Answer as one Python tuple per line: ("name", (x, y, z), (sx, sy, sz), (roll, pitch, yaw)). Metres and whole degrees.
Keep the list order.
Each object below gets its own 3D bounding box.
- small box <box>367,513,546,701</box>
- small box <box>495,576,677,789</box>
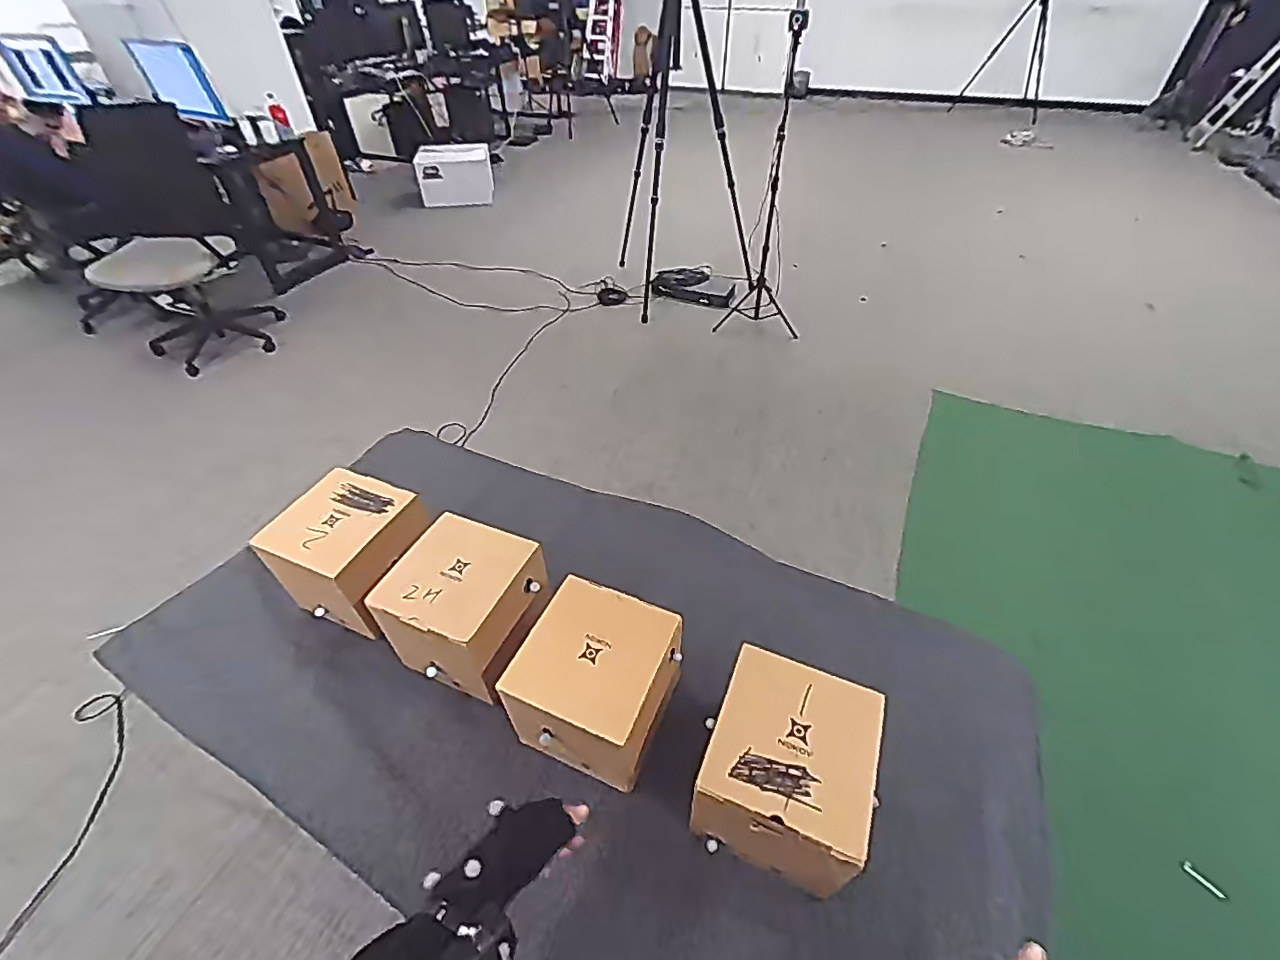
("small box", (-0.250, 0.183, 0.788), (0.168, 0.176, 0.179), (16, 46, 17))
("small box", (-0.058, 0.264, 0.704), (0.168, 0.176, 0.179), (17, 46, 17))
